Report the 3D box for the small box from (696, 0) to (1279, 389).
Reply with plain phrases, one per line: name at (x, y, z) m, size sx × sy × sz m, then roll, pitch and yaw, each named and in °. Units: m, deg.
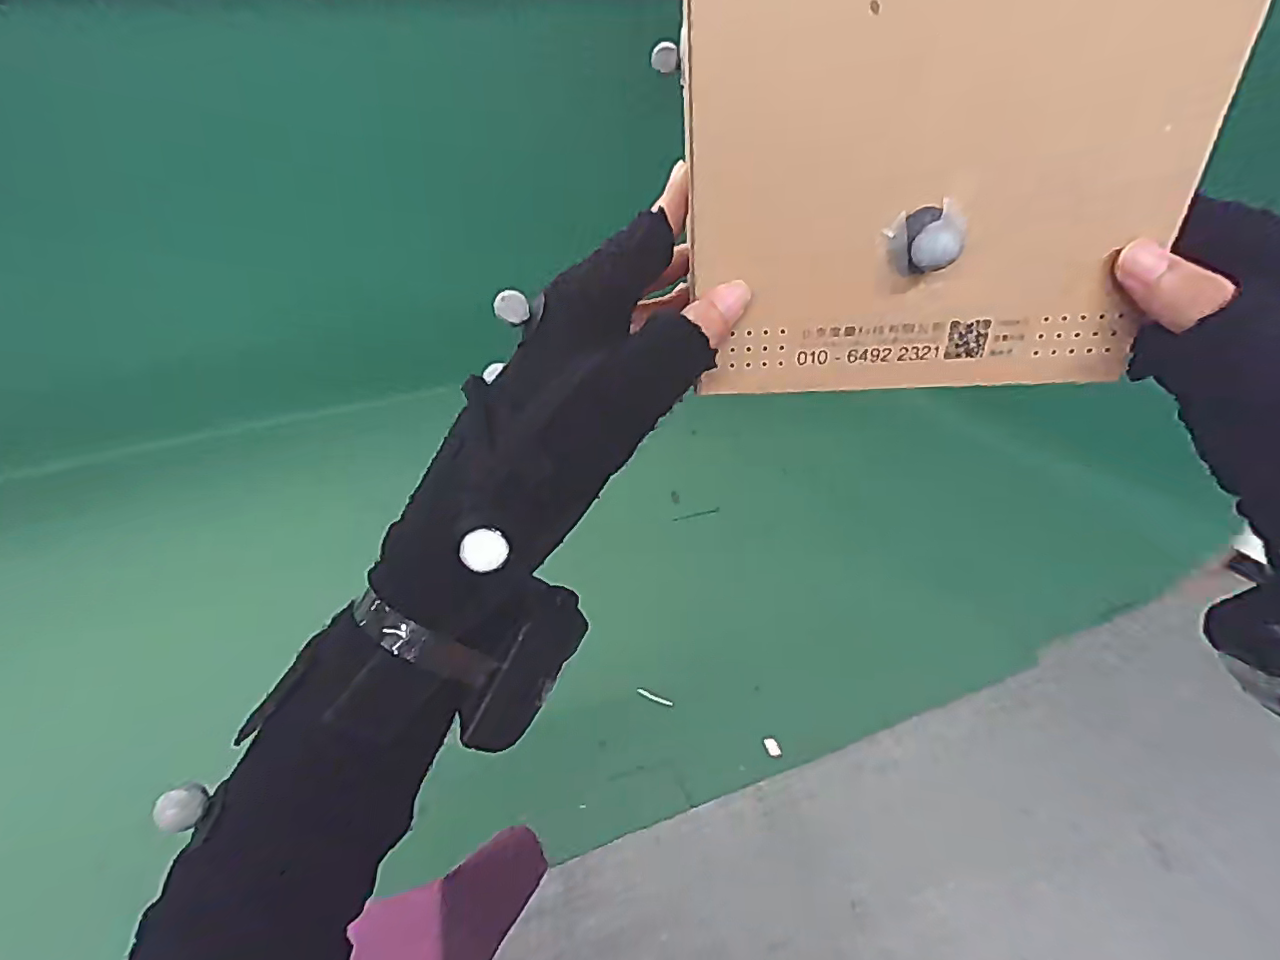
small box at (0.109, -0.149, 0.245) m, size 0.168 × 0.176 × 0.179 m, roll -1°, pitch 31°, yaw 6°
